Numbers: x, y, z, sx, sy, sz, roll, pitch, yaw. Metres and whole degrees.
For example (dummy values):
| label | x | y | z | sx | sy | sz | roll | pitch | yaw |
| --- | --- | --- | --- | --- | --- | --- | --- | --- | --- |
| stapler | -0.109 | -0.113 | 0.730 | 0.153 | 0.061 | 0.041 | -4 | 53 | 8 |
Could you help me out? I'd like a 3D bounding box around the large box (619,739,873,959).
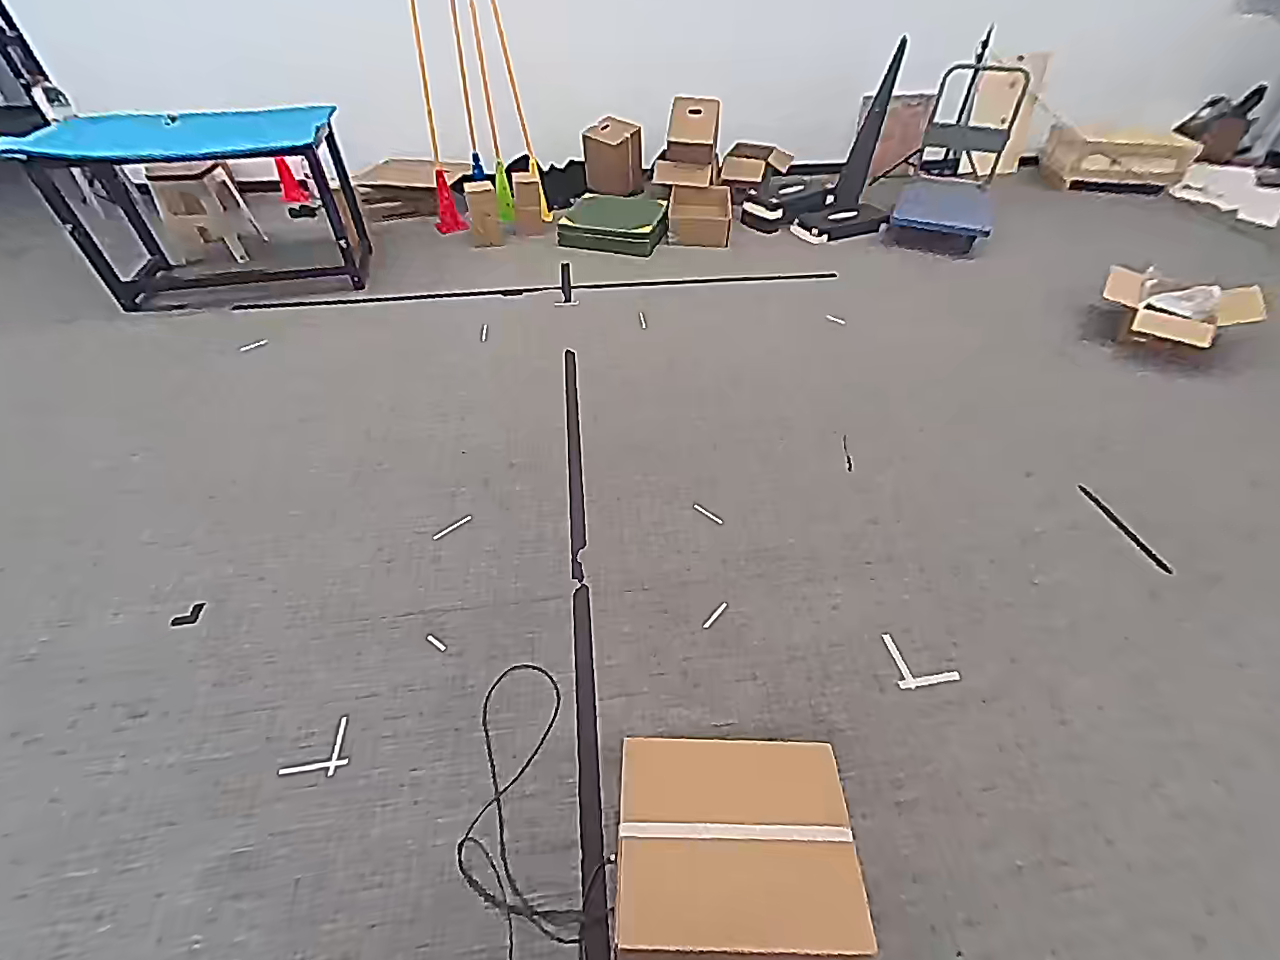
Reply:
| label | x | y | z | sx | sy | sz | roll | pitch | yaw |
| --- | --- | --- | --- | --- | --- | --- | --- | --- | --- |
| large box | 0.162 | 0.721 | 1.044 | 0.408 | 0.320 | 0.320 | 2 | 44 | 0 |
